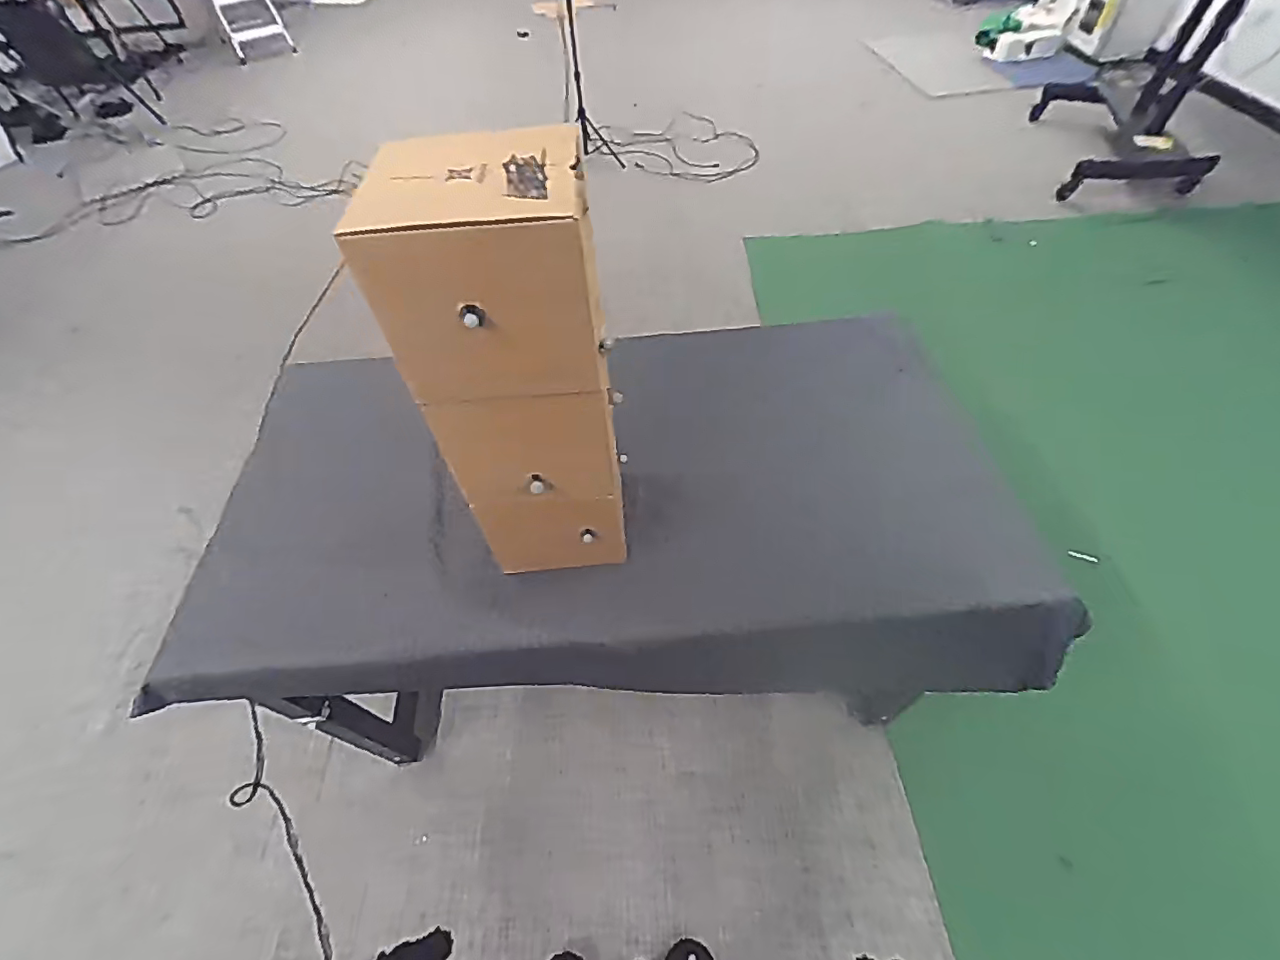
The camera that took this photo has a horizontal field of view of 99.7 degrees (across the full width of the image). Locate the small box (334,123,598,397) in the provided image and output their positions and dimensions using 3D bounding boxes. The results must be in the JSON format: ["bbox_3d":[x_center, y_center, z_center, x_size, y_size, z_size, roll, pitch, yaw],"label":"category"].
[{"bbox_3d":[-0.132,-0.194,0.494,0.179,0.176,0.168,-5,52,1],"label":"small box"}]

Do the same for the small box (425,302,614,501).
[{"bbox_3d":[-0.124,-0.093,0.626,0.179,0.176,0.168,-7,54,-1],"label":"small box"}]

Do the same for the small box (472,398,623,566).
[{"bbox_3d":[-0.116,0.004,0.755,0.179,0.176,0.168,-6,52,0],"label":"small box"}]
